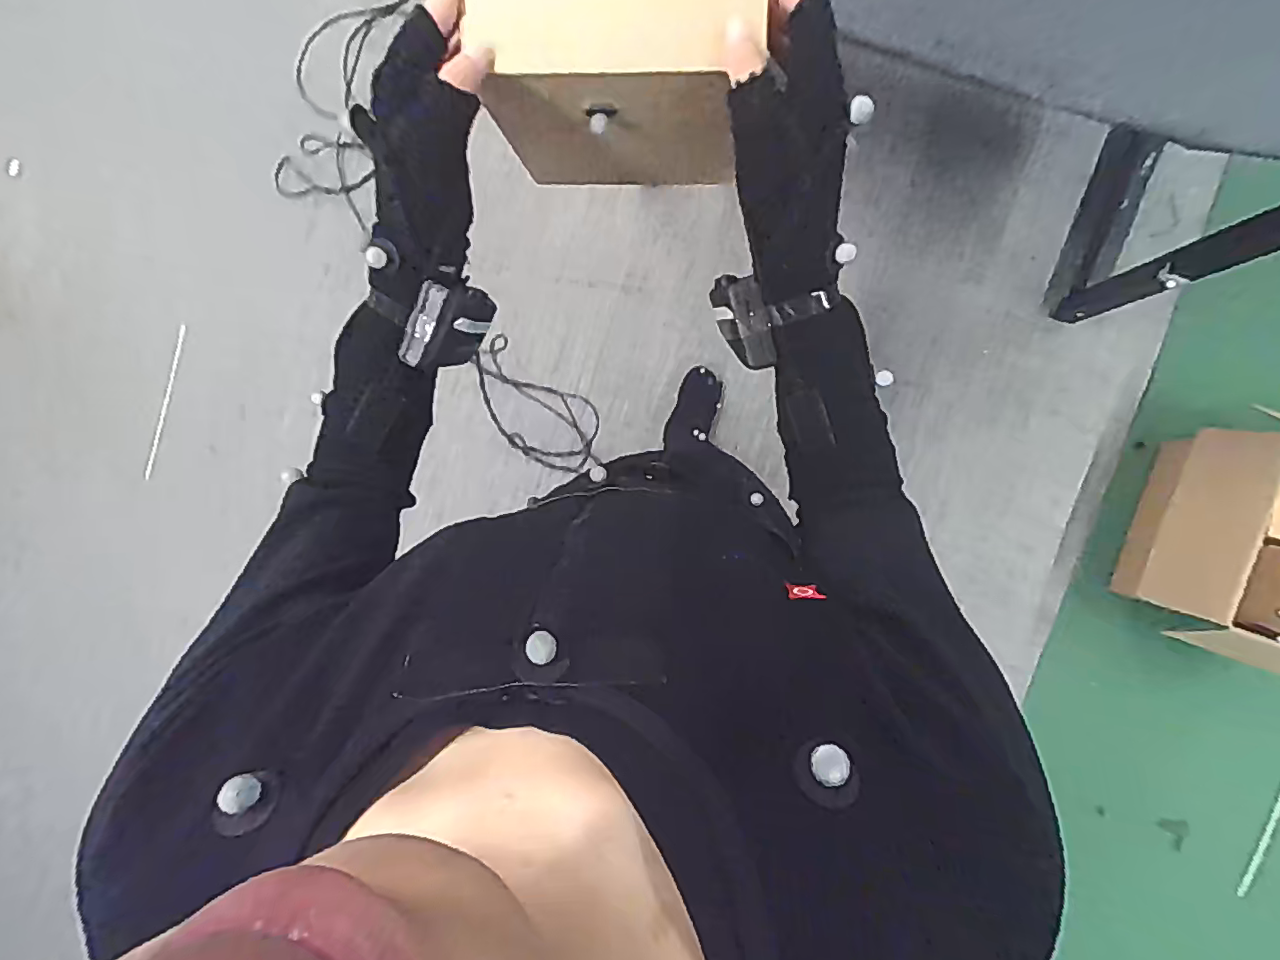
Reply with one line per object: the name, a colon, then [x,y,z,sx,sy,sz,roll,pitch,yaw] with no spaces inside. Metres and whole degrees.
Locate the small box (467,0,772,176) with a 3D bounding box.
small box: [-0.004,-0.330,0.376,0.179,0.176,0.168,3,99,3]
